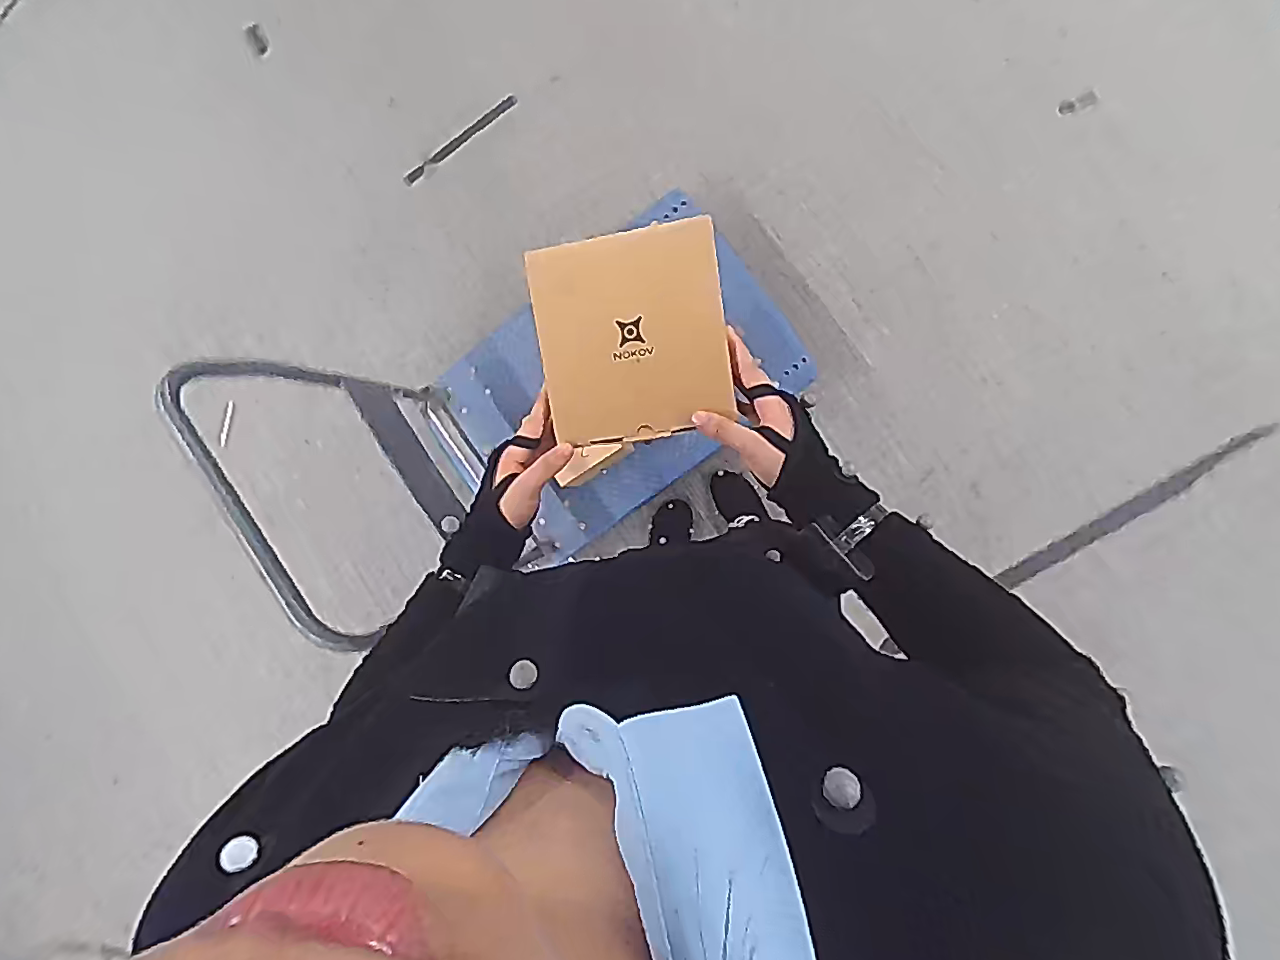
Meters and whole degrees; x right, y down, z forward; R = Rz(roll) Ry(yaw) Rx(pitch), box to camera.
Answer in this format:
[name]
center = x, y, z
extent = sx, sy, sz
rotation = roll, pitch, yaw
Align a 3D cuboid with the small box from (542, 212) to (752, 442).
[small box]
center = 0.014, -0.138, 0.540
extent = 0.168, 0.176, 0.179
rotation = -7, 98, 8
